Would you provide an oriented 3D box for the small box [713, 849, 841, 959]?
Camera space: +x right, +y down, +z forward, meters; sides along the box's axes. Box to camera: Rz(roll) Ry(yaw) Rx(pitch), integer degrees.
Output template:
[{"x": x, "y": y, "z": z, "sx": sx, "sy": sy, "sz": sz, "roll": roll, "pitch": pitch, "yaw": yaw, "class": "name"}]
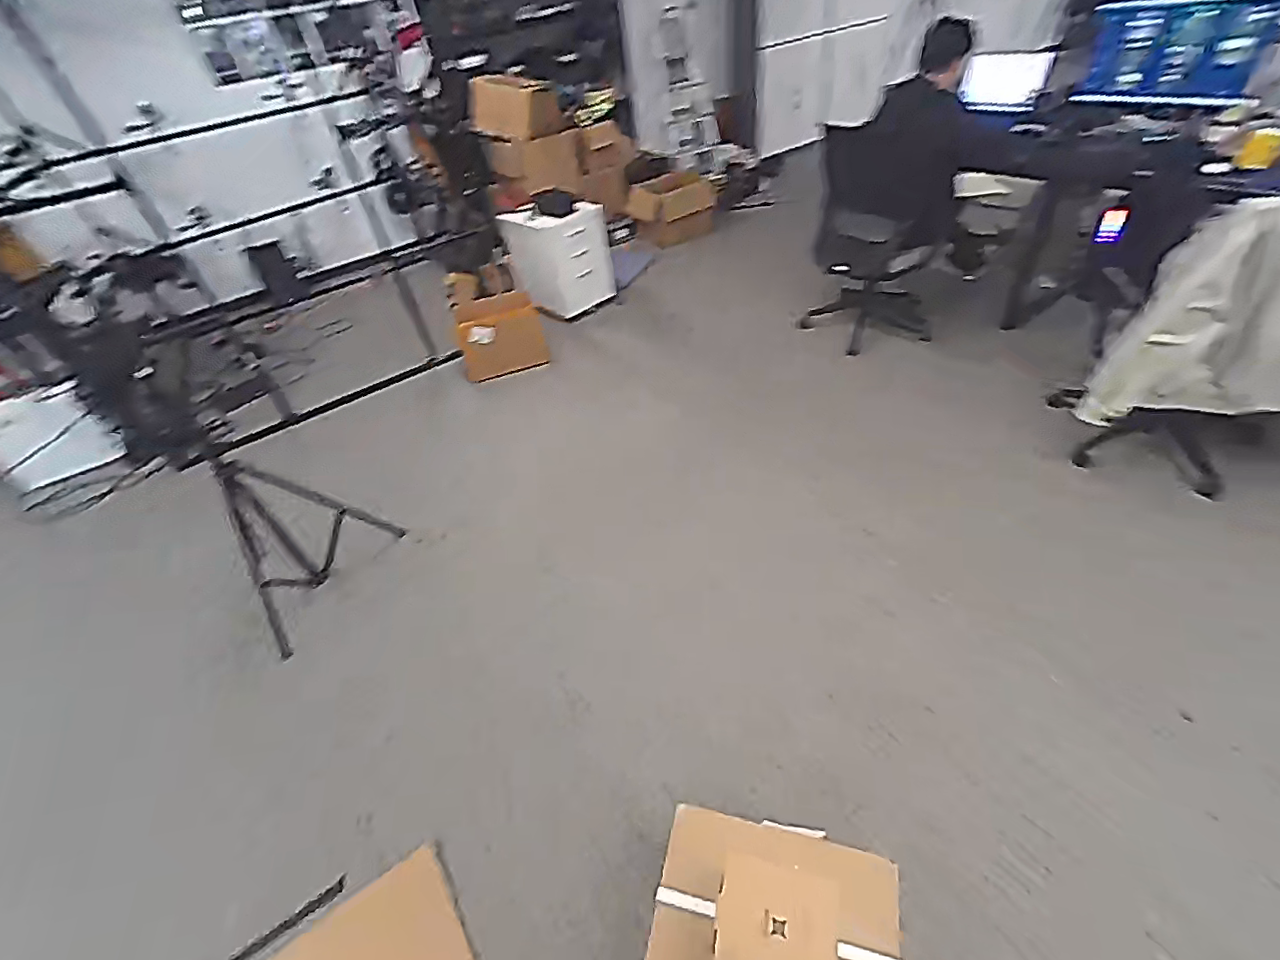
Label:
[{"x": 0.216, "y": 0.717, "z": 0.852, "sx": 0.179, "sy": 0.176, "sz": 0.168, "roll": 5, "pitch": 46, "yaw": 15, "class": "small box"}]
